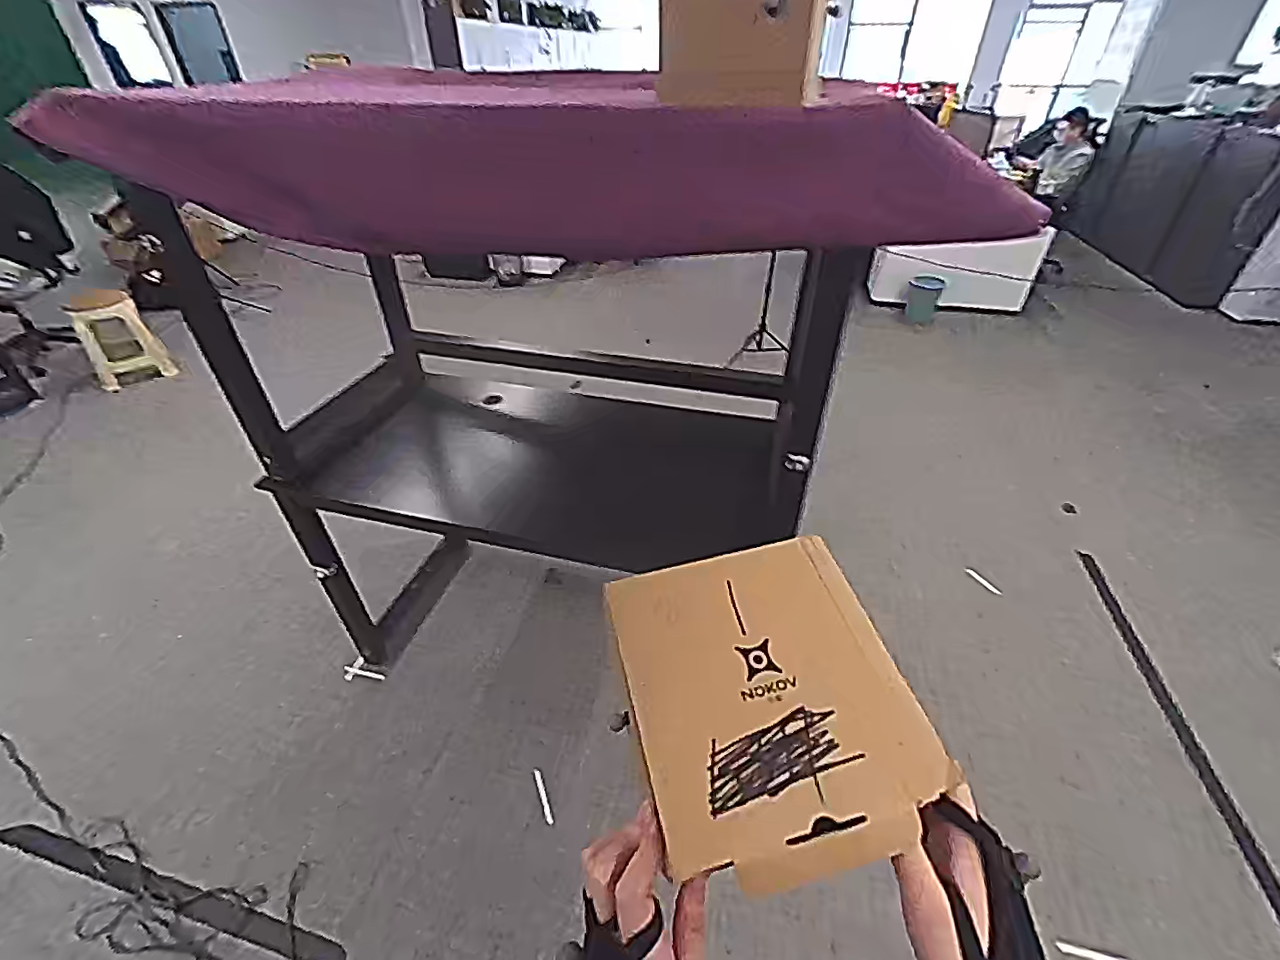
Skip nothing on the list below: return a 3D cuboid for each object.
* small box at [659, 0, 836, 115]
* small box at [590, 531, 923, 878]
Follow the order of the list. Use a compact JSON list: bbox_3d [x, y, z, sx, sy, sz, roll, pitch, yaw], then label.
[{"bbox_3d":[0.128,-0.531,0.624,0.179,0.176,0.168,12,38,17],"label":"small box"},{"bbox_3d":[0.063,0.165,0.405,0.168,0.176,0.179,-11,58,-9],"label":"small box"}]
